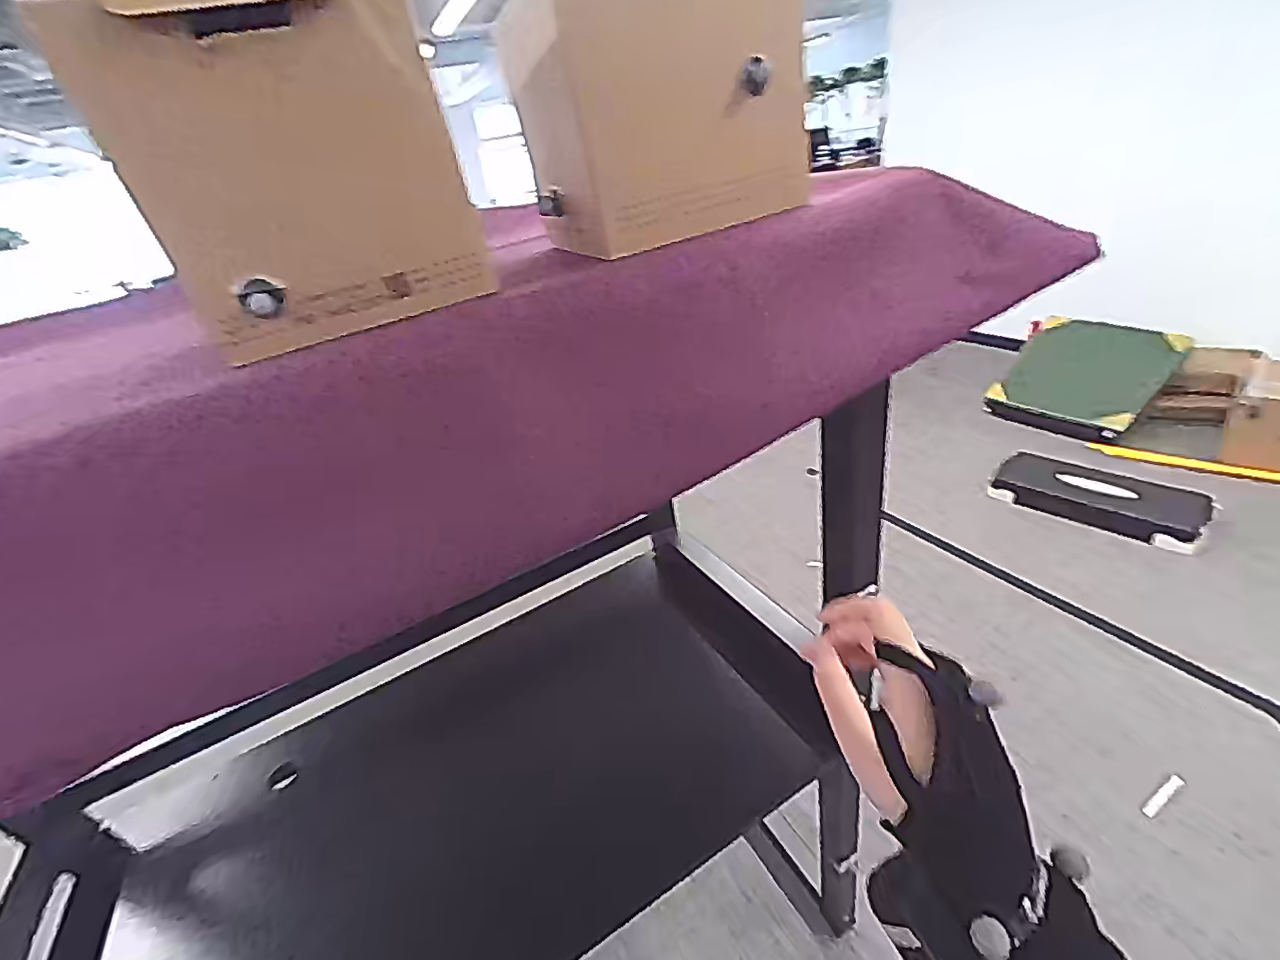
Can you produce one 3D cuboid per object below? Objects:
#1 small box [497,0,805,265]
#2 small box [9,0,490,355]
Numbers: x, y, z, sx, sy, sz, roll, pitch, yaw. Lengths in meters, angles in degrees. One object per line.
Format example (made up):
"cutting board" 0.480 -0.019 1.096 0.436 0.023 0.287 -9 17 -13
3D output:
"small box" 0.010 -0.281 0.422 0.179 0.176 0.168 -22 31 -15
"small box" -0.216 -0.193 0.356 0.168 0.176 0.179 -24 32 -19
